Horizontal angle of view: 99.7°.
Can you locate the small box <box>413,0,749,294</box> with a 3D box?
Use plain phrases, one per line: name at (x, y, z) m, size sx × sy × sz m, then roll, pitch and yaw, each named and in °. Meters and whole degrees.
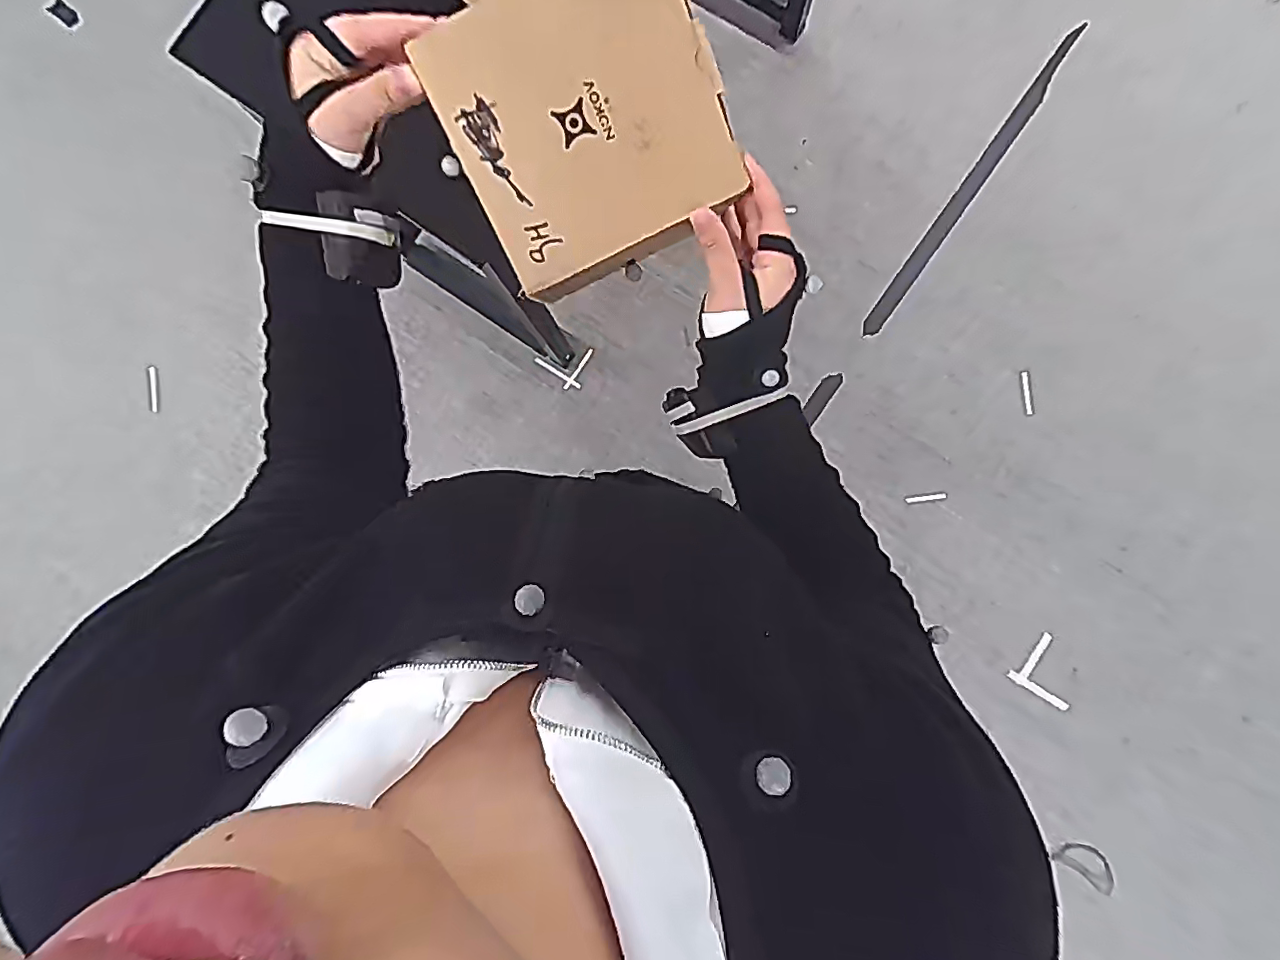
small box at (-0.042, -0.263, 0.431) m, size 0.179 × 0.176 × 0.168 m, roll -25°, pitch 107°, yaw 1°
